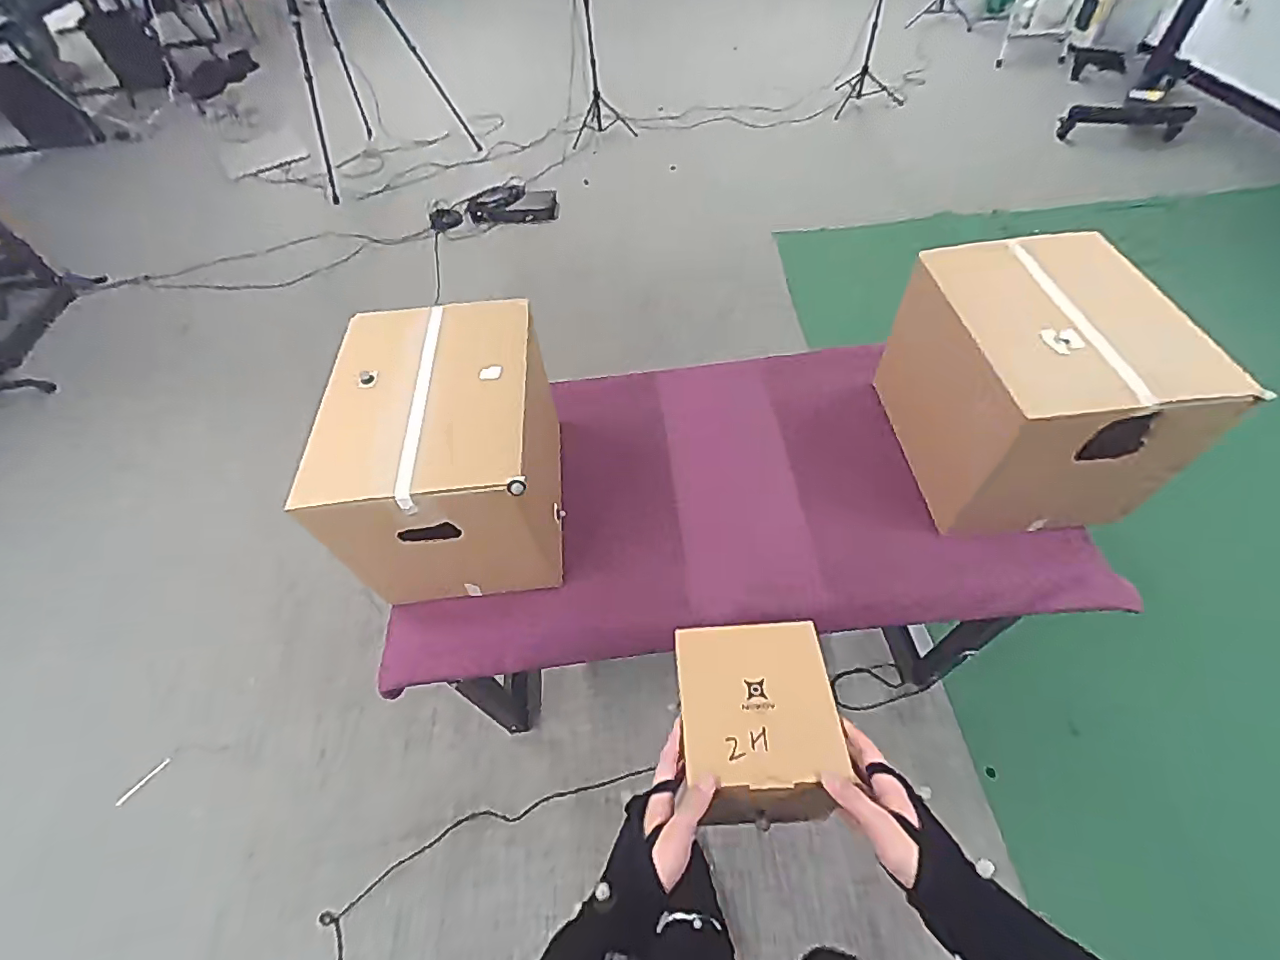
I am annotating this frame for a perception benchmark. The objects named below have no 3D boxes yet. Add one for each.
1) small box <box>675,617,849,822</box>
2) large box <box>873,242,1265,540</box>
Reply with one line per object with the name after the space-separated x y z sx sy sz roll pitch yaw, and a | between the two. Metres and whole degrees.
0.128 0.285 0.643 0.168 0.176 0.179 -4 46 3 | small box
0.657 -0.152 0.939 0.320 0.320 0.408 -6 54 2 | large box
